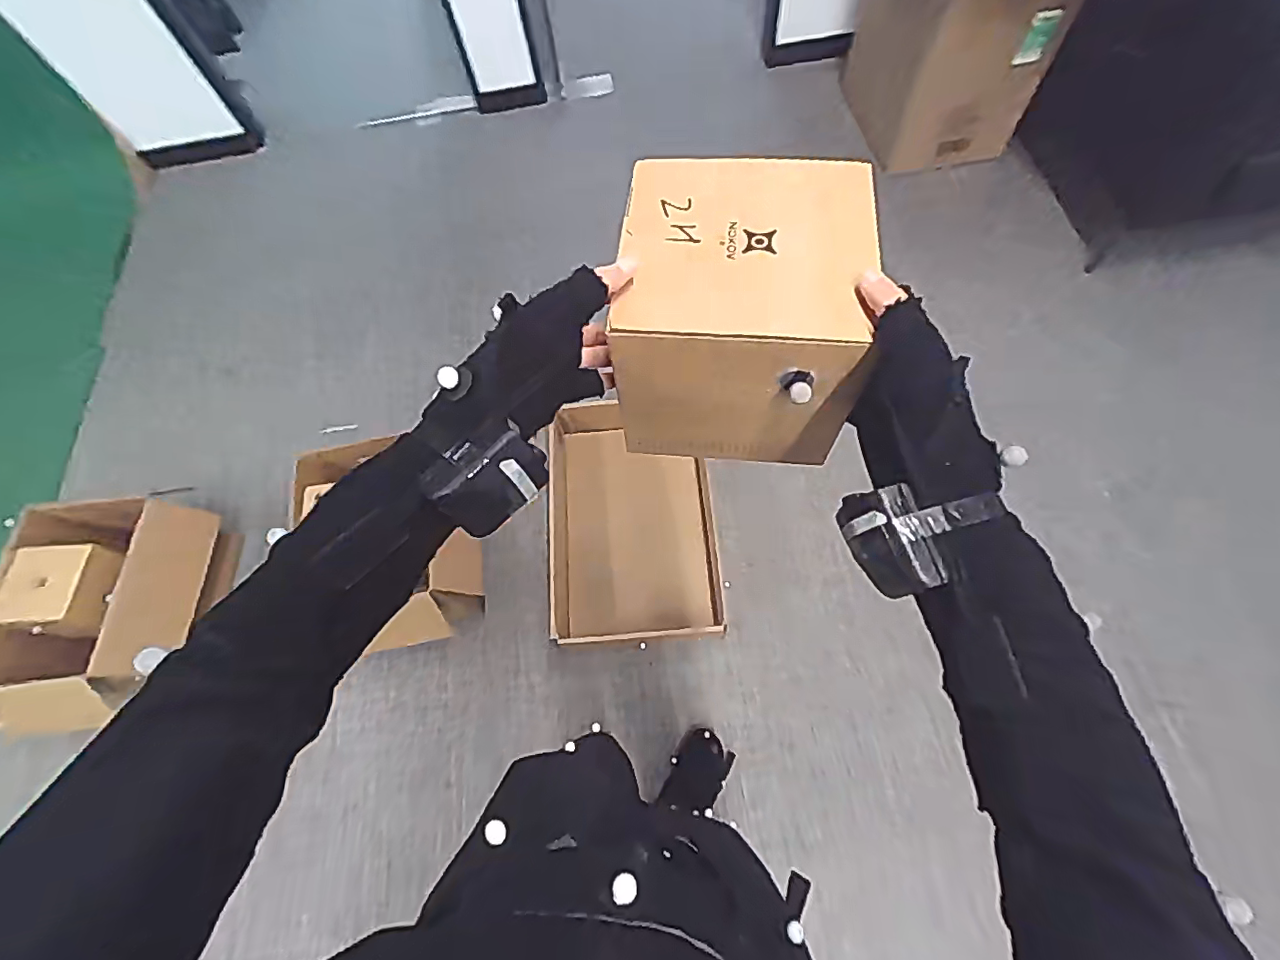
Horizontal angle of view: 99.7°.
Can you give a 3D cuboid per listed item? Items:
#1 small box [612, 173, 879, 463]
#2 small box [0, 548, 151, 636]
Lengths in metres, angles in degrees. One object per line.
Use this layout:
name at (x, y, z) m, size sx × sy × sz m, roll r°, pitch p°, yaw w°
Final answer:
small box at (0.080, -0.125, 0.457) m, size 0.179 × 0.176 × 0.168 m, roll 4°, pitch 65°, yaw 6°
small box at (-1.289, 0.259, 1.236) m, size 0.179 × 0.176 × 0.168 m, roll -3°, pitch 65°, yaw 2°
